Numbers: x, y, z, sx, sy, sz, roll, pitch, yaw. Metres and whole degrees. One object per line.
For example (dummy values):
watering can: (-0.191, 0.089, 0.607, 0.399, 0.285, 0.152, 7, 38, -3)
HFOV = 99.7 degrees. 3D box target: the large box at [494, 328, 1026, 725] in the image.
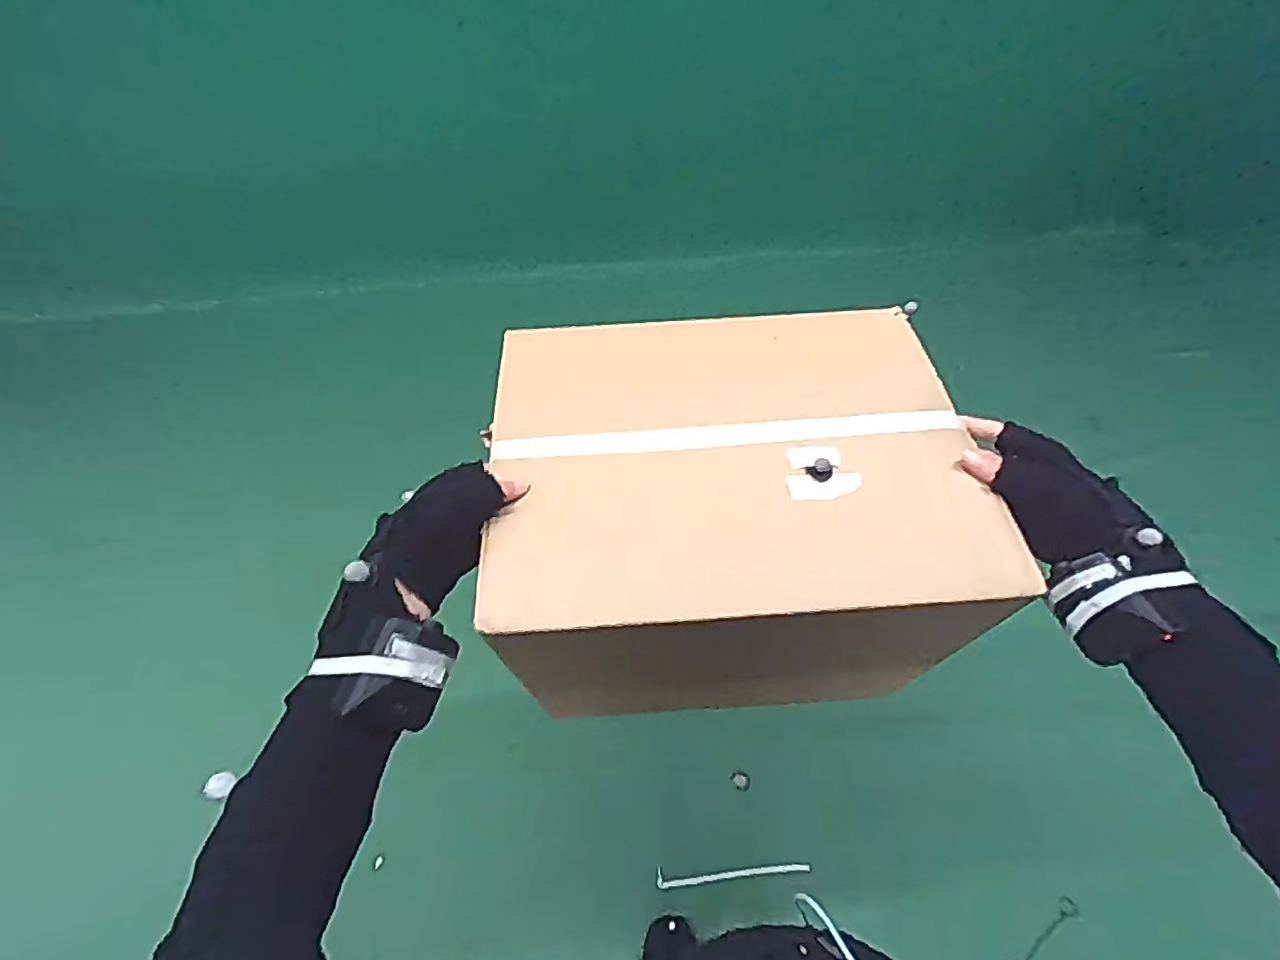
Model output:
large box: (0.080, 0.061, 0.598, 0.408, 0.320, 0.320, -3, 55, -2)
